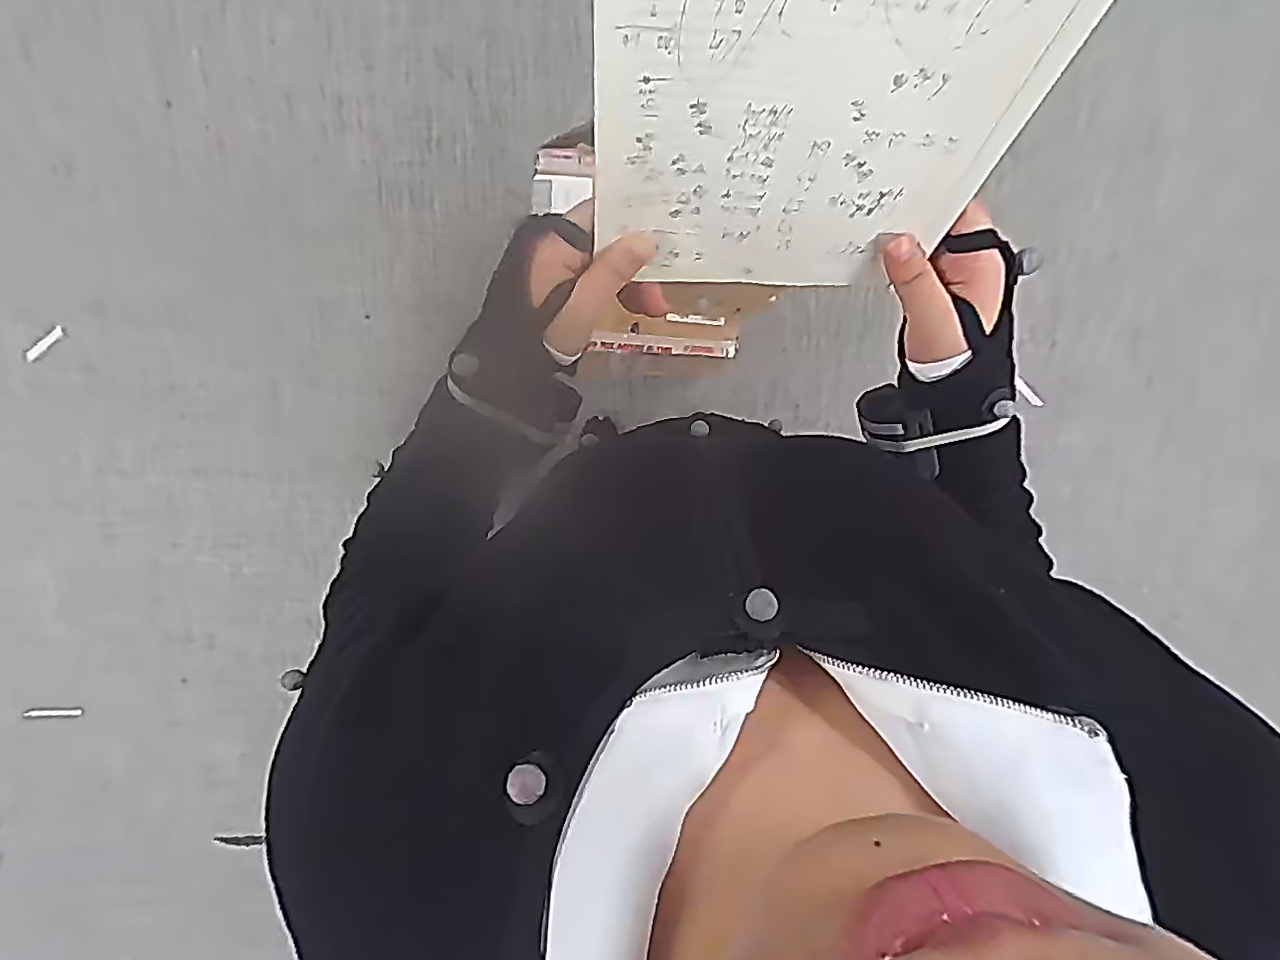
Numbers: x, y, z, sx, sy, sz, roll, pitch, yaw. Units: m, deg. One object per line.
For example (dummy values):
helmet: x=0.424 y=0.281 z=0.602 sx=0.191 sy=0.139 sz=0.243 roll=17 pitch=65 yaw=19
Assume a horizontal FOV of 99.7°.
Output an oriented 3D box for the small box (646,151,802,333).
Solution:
small box: x=0.103 y=-0.311 z=0.743 sx=0.168 sy=0.176 sz=0.179 roll=6 pitch=98 yaw=-5

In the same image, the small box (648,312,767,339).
small box: x=0.111 y=-0.333 z=0.907 sx=0.179 sy=0.176 sz=0.168 roll=2 pitch=97 yaw=-4
